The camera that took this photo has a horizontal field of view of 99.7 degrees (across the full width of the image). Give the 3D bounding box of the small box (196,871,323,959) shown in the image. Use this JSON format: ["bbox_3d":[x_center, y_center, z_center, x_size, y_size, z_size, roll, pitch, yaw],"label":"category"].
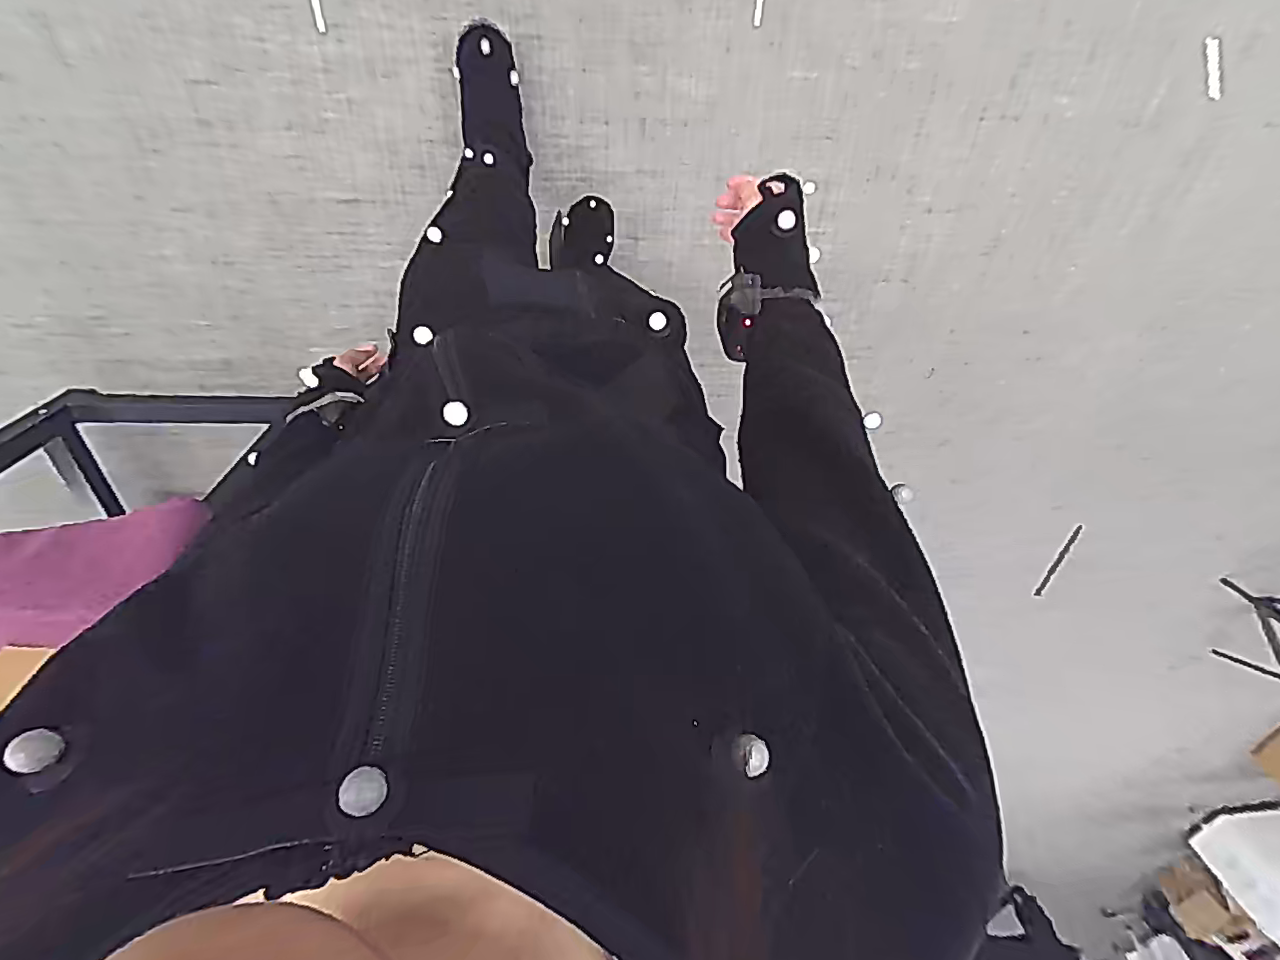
[{"bbox_3d":[-0.867,1.038,1.252,0.168,0.176,0.179,-2,125,-6],"label":"small box"}]
